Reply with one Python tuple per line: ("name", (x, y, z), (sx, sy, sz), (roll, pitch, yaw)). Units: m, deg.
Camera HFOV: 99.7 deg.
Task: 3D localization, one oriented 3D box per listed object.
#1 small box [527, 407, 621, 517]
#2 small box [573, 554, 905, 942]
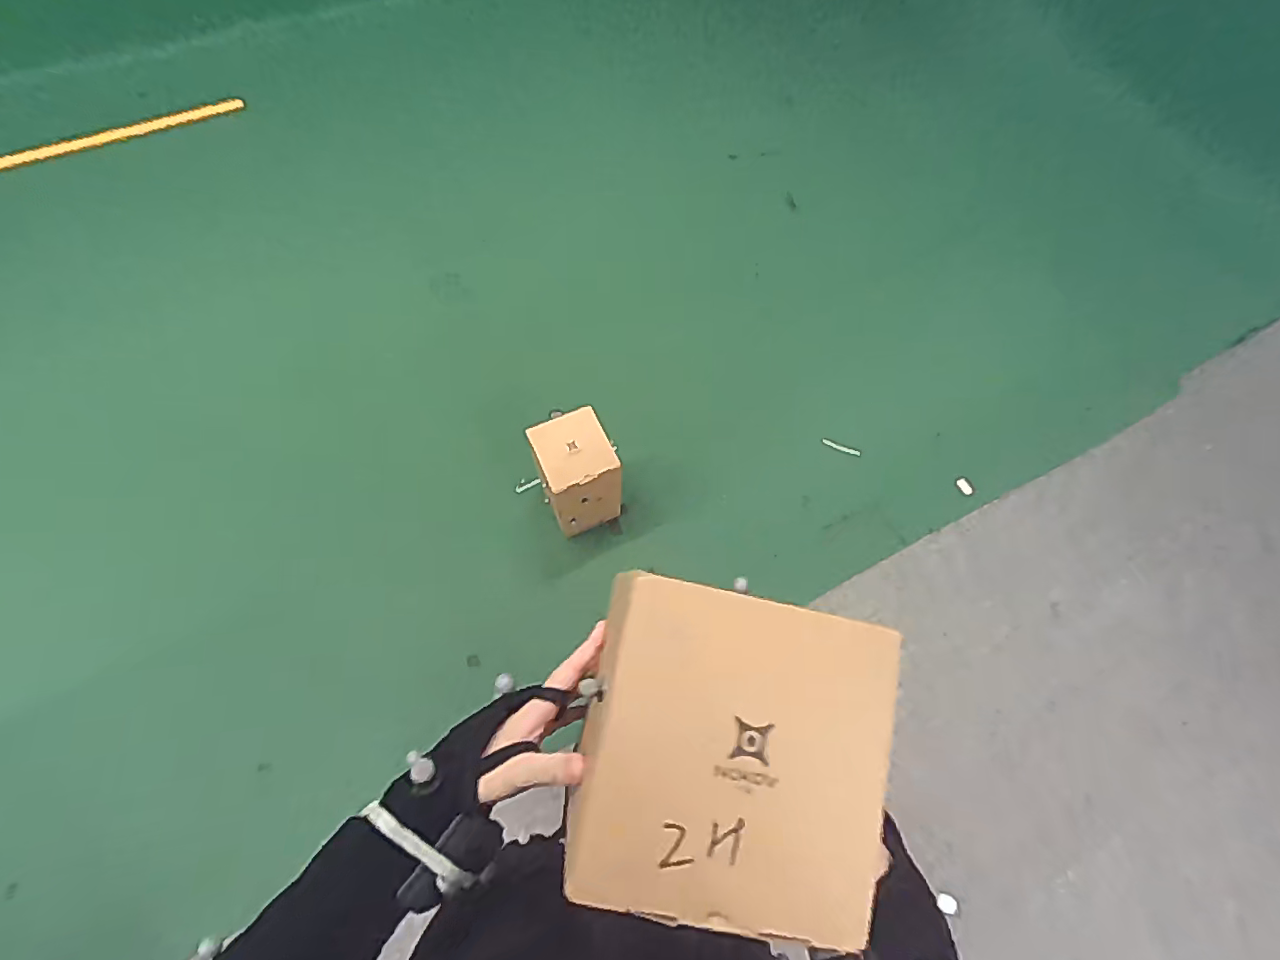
("small box", (-0.157, -0.038, 1.296), (0.168, 0.176, 0.179), (-24, 69, -13))
("small box", (0.053, 0.159, 0.378), (0.168, 0.176, 0.179), (14, 78, -3))
